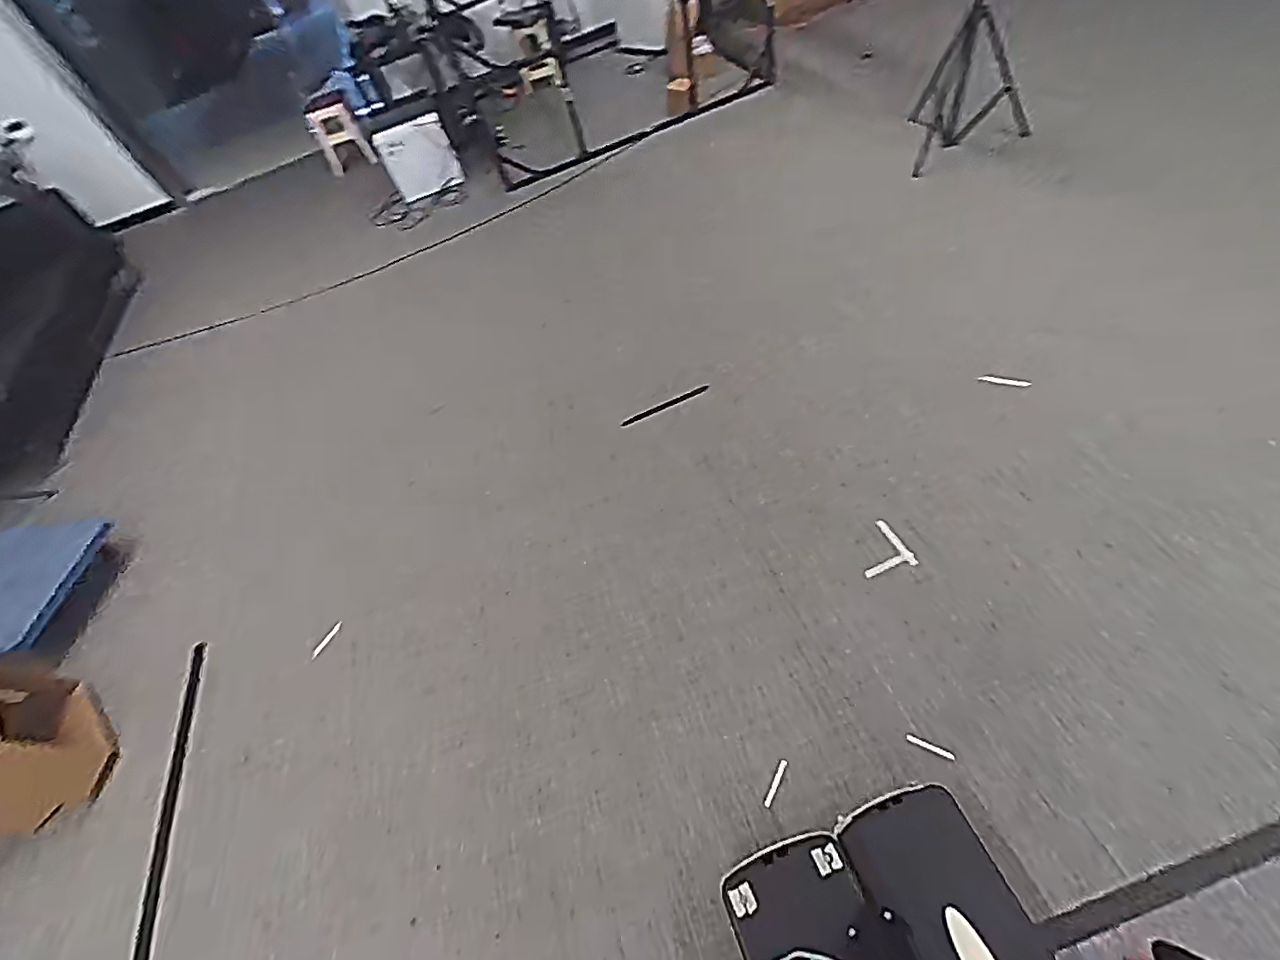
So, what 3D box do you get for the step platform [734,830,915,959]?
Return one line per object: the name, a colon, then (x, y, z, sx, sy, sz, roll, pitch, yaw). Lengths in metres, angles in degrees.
step platform: (0.445, 1.079, 1.028, 0.286, 0.204, 0.684, -24, 51, -3)
